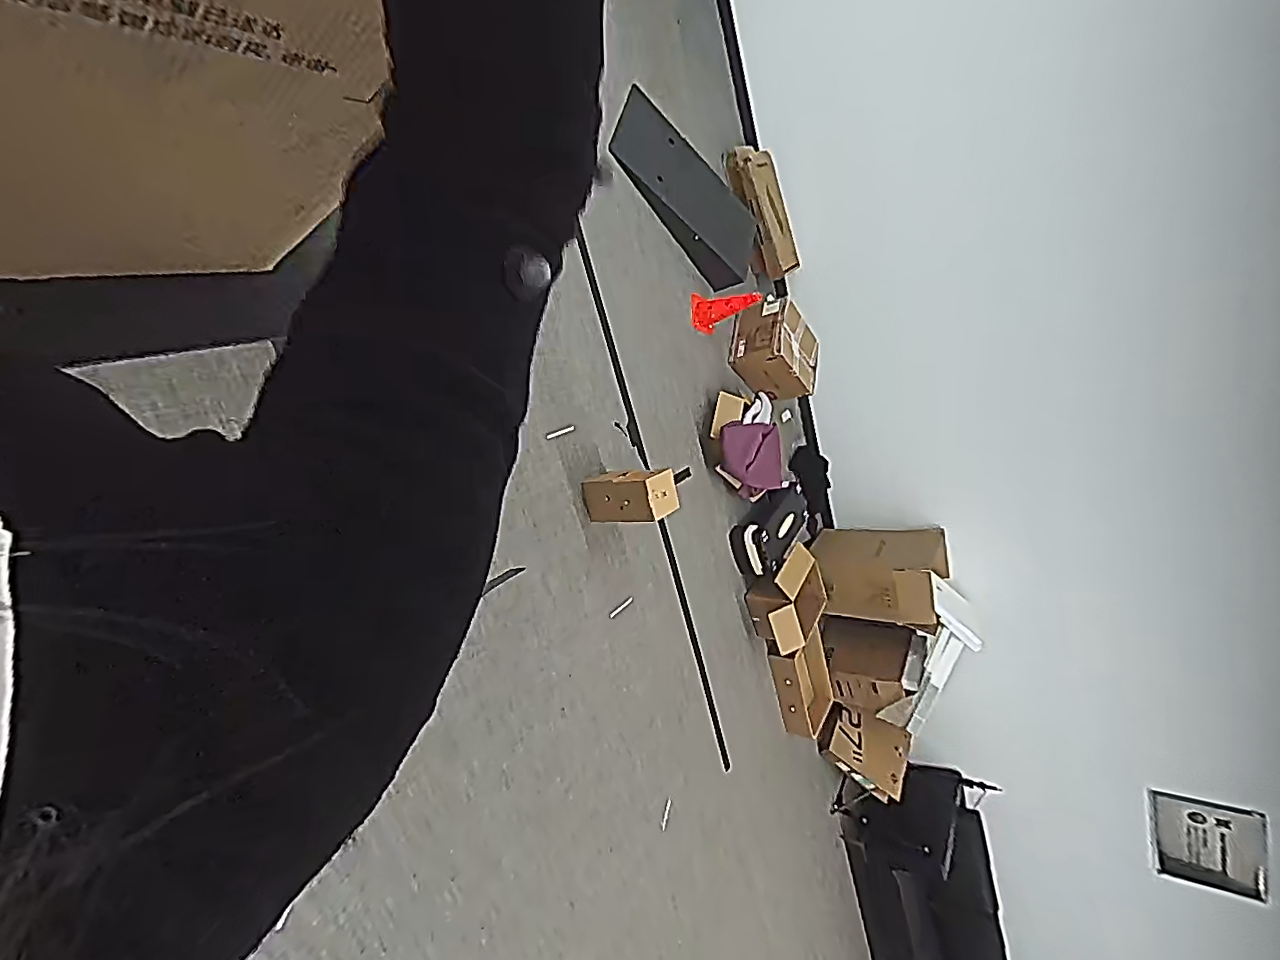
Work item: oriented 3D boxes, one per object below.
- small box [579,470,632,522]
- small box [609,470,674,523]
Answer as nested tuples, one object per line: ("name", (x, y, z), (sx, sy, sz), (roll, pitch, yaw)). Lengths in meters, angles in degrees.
("small box", (-0.129, 0.067, 2.213), (0.168, 0.176, 0.179), (-24, 106, -49))
("small box", (0.004, 0.063, 2.115), (0.179, 0.176, 0.168), (-24, 105, -49))
